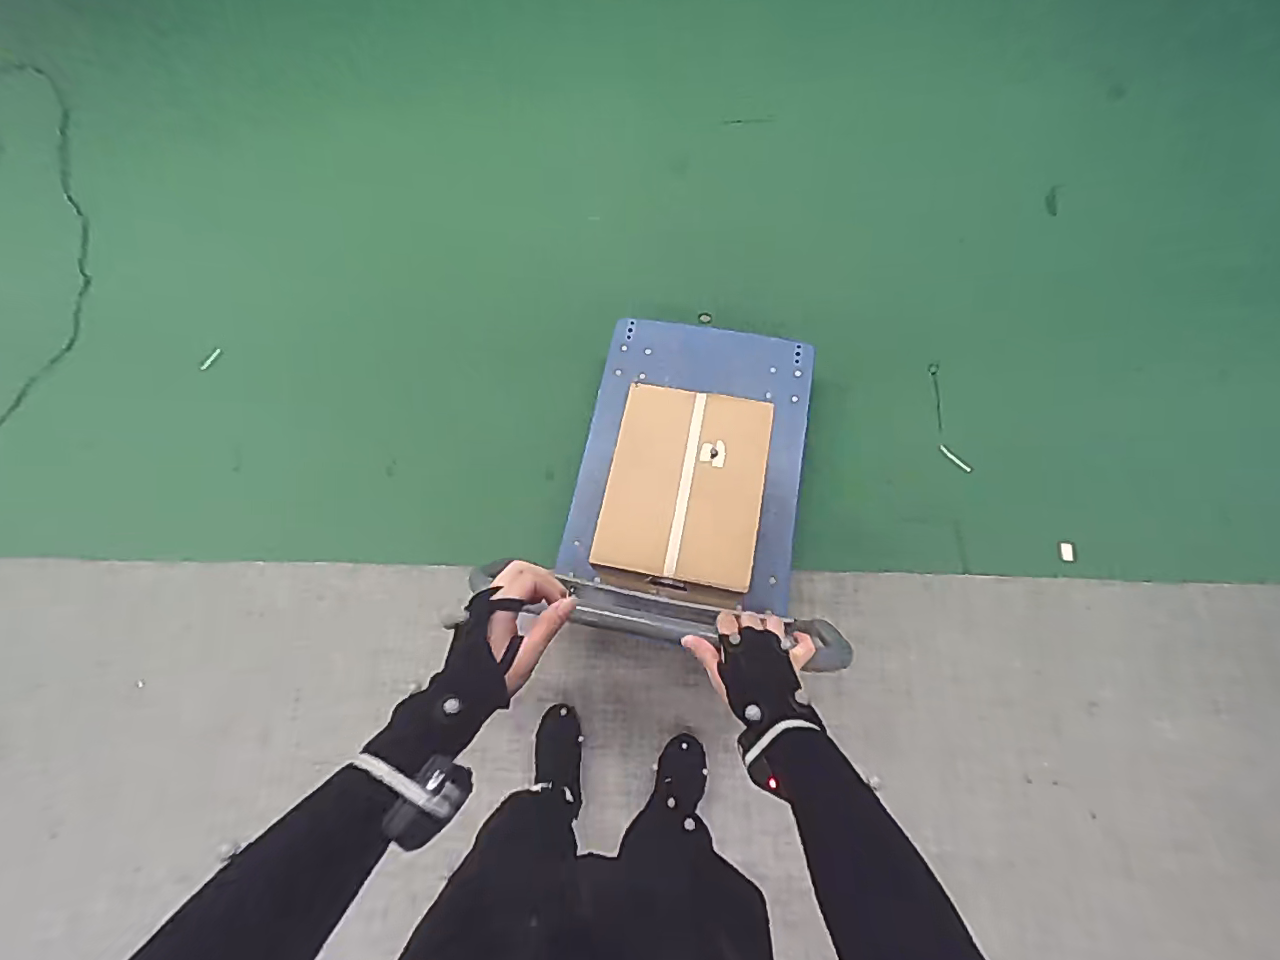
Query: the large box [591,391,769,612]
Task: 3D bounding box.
[{"bbox_3d":[0.098,0.062,1.234,0.320,0.320,0.408,10,71,6],"label":"large box"}]
